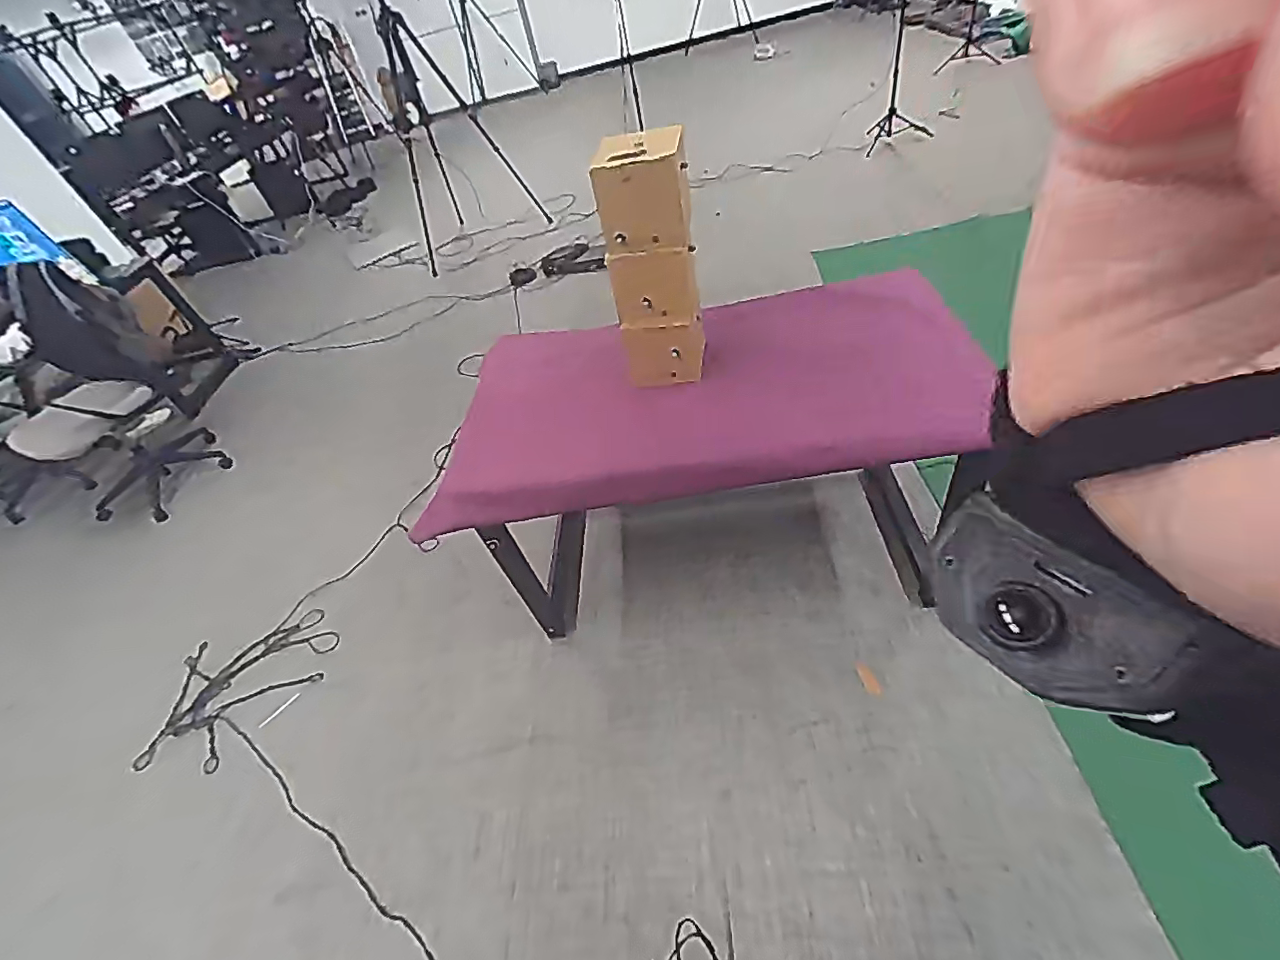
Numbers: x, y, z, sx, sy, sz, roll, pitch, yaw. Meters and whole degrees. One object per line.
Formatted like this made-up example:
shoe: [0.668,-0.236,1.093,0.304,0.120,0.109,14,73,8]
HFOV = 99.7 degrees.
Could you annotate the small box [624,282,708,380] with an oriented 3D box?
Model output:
small box: [0.071,-0.357,1.318,0.168,0.176,0.179,0,47,15]

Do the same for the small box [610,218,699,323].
small box: [0.041,-0.474,1.210,0.168,0.176,0.179,-2,48,12]

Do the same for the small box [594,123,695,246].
small box: [0.018,-0.590,1.096,0.168,0.176,0.179,-1,47,13]
